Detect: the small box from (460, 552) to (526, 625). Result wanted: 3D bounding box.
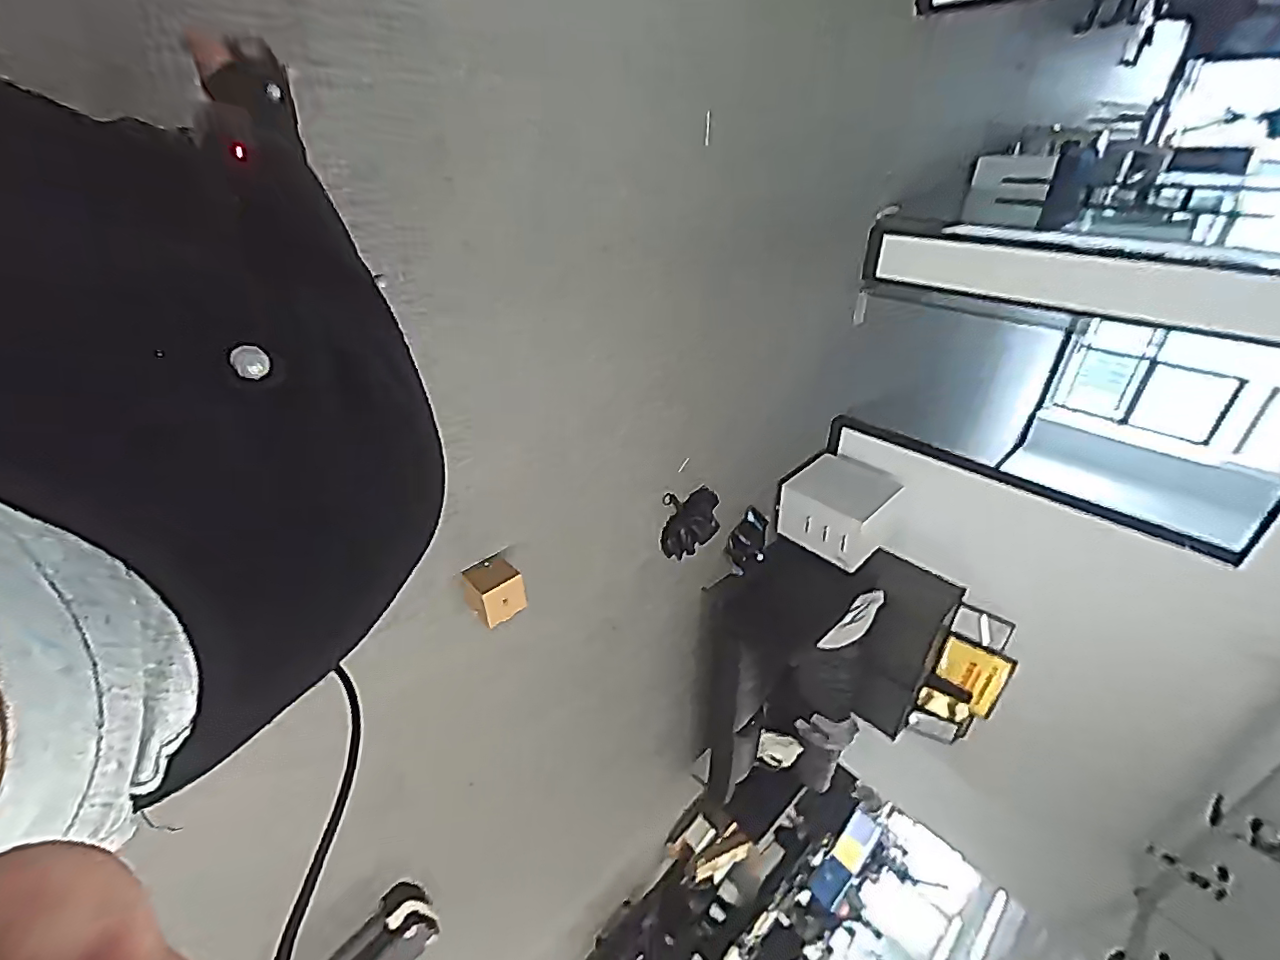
[{"bbox_3d":[-0.557,0.405,2.048,0.168,0.176,0.179,-30,131,-35],"label":"small box"}]
